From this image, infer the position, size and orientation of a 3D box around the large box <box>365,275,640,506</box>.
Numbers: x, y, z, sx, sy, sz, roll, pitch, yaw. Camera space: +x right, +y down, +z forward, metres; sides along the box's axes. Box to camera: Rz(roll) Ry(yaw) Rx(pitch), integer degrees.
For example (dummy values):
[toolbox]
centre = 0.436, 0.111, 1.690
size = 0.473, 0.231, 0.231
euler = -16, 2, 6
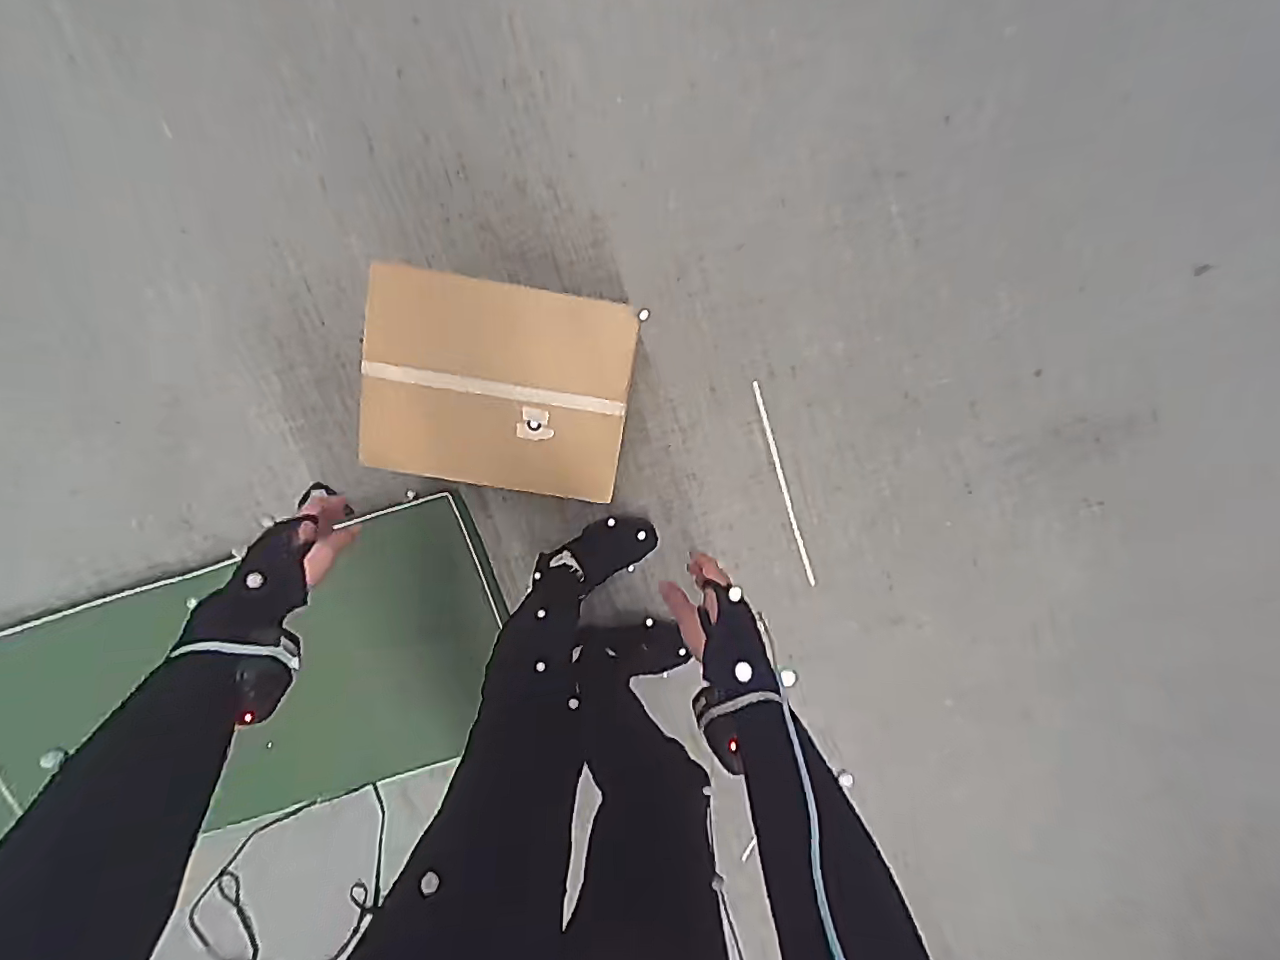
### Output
[large box]
centre = -0.227, -0.158, 0.985
size = 0.408, 0.320, 0.320
euler = 9, 101, -5
